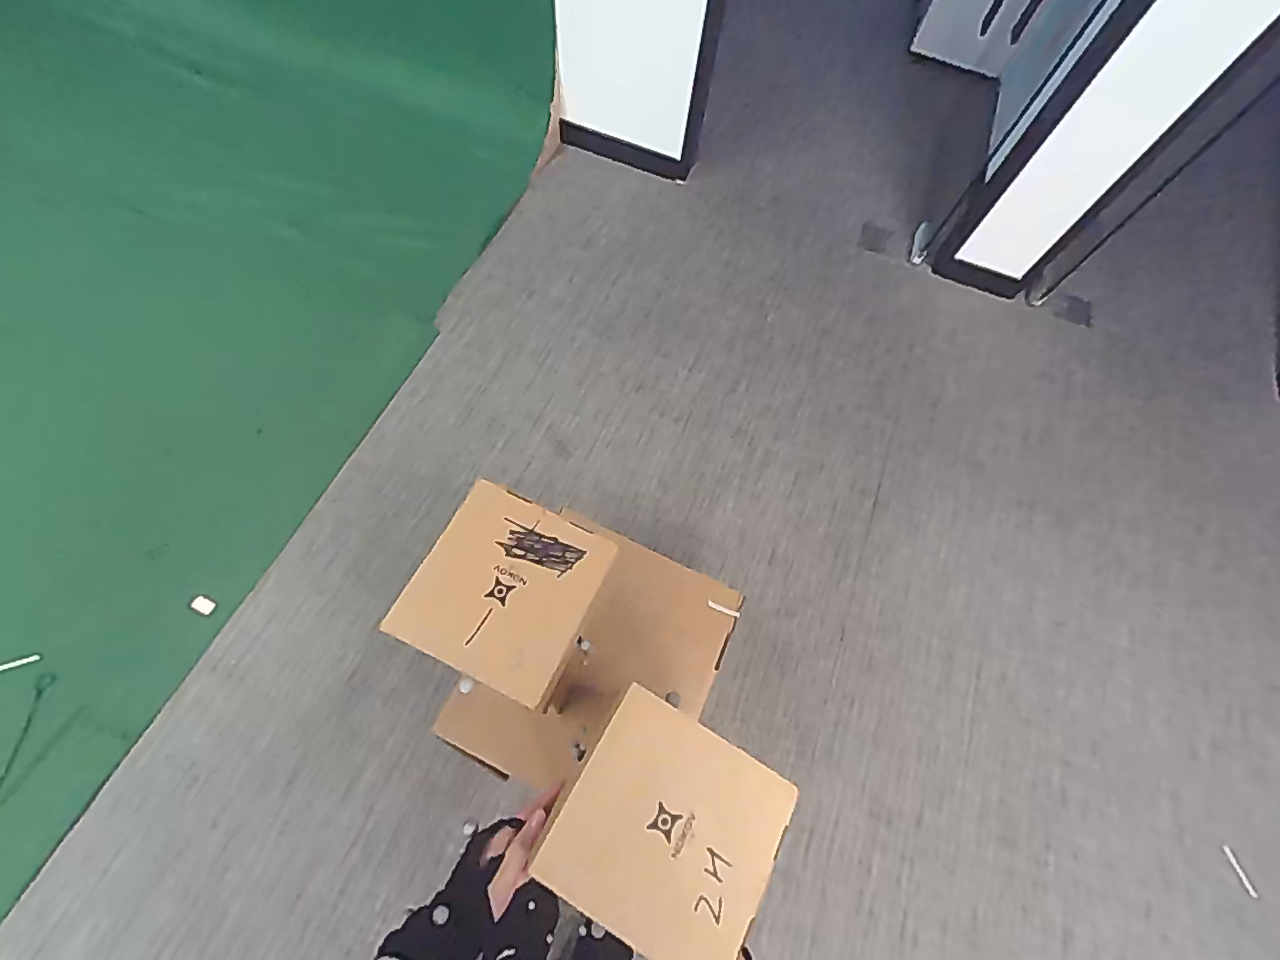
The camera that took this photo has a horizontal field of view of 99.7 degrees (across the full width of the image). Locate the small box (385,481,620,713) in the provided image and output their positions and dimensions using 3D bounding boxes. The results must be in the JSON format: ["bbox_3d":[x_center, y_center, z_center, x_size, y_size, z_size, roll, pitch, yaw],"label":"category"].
[{"bbox_3d":[-0.139,0.137,0.600,0.168,0.176,0.179,26,66,6],"label":"small box"}]

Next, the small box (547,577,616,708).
[{"bbox_3d":[-0.149,0.196,0.751,0.168,0.176,0.179,25,66,6],"label":"small box"}]

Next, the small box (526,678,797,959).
[{"bbox_3d":[0.013,0.317,0.517,0.179,0.176,0.168,31,65,7],"label":"small box"}]
